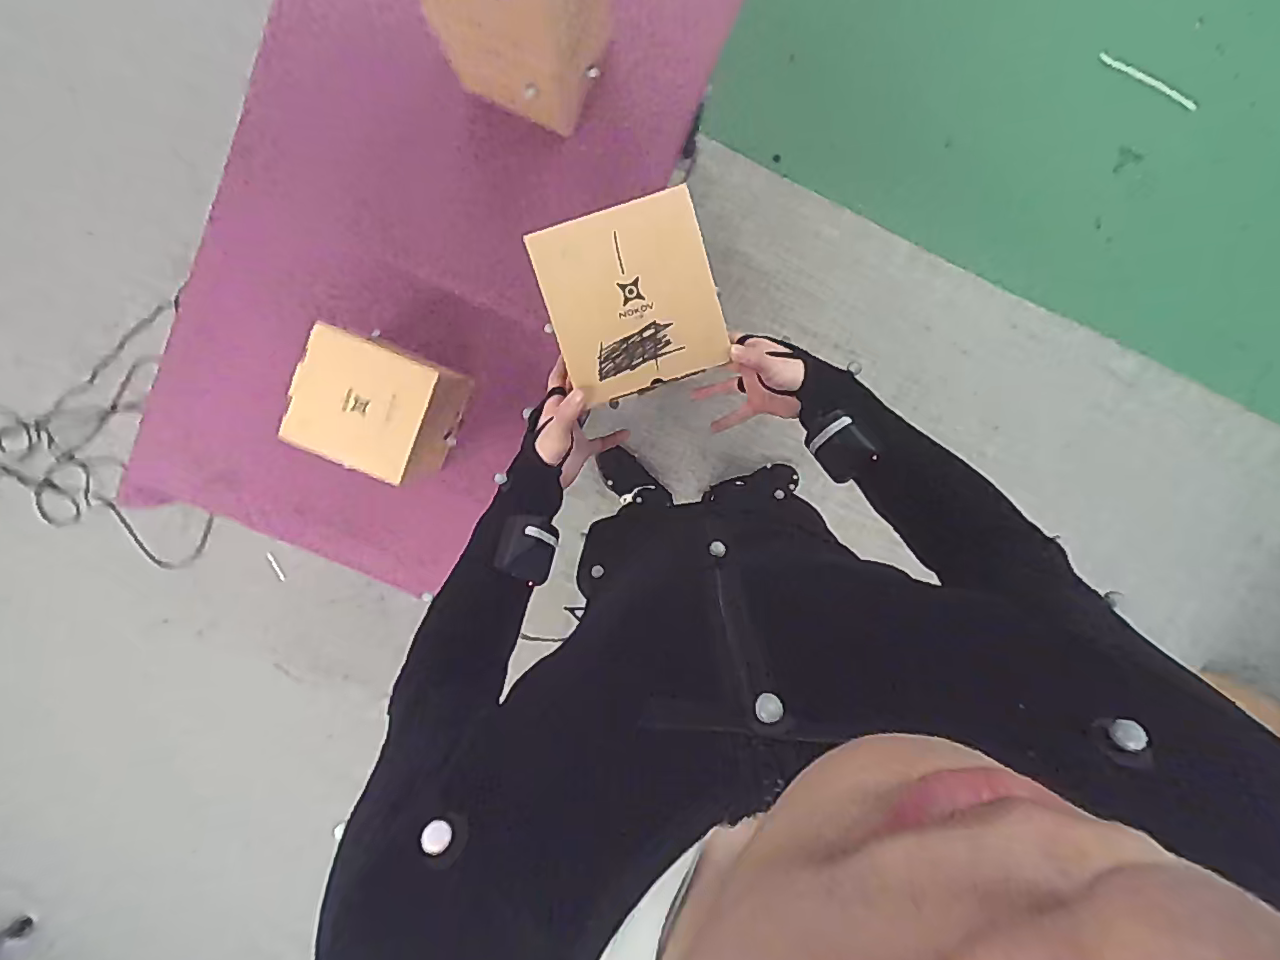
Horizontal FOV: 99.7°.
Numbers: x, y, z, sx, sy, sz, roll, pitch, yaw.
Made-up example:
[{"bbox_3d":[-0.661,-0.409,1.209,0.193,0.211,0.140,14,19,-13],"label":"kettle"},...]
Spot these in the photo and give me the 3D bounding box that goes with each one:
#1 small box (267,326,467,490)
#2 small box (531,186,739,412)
[{"bbox_3d":[-0.380,-0.101,0.784,0.179,0.176,0.168,23,96,-4],"label":"small box"},{"bbox_3d":[-0.005,-0.185,0.594,0.168,0.176,0.179,-16,101,0],"label":"small box"}]
